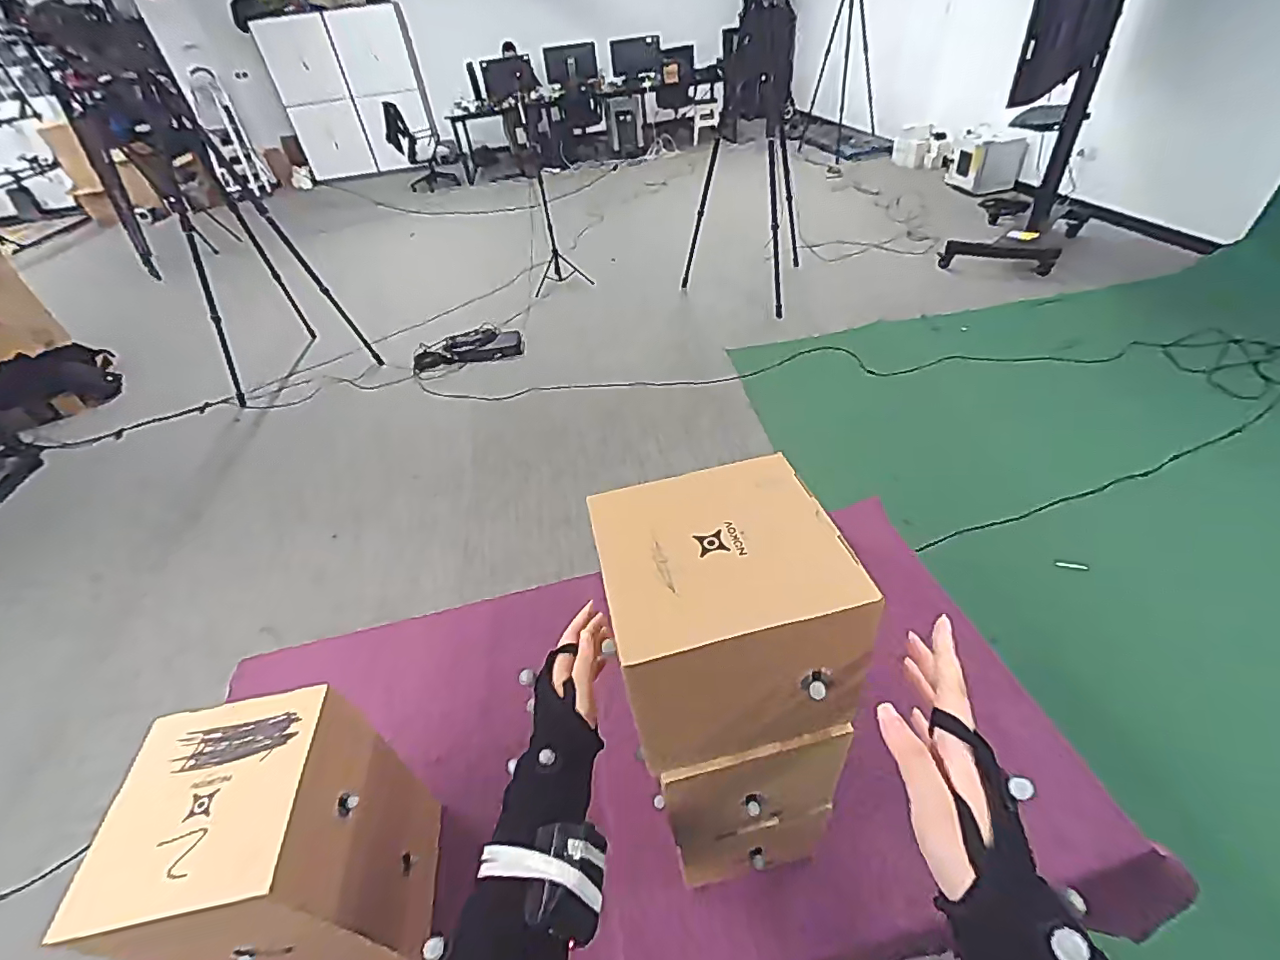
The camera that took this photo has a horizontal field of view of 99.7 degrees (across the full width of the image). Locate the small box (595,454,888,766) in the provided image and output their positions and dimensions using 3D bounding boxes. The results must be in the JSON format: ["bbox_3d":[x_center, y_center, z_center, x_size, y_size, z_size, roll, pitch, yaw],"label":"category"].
[{"bbox_3d":[0.070,0.107,0.450,0.179,0.176,0.168,-13,40,-4],"label":"small box"}]

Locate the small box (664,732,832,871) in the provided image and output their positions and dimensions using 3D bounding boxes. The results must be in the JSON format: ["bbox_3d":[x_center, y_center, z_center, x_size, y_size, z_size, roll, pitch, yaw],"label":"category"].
[{"bbox_3d":[0.114,0.352,0.665,0.168,0.176,0.179,-12,42,-4],"label":"small box"}]

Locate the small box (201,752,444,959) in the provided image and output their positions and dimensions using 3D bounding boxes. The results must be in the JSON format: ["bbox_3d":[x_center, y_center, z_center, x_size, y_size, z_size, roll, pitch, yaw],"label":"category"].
[{"bbox_3d":[-0.340,0.452,0.628,0.168,0.176,0.179,-11,42,-3],"label":"small box"}]
